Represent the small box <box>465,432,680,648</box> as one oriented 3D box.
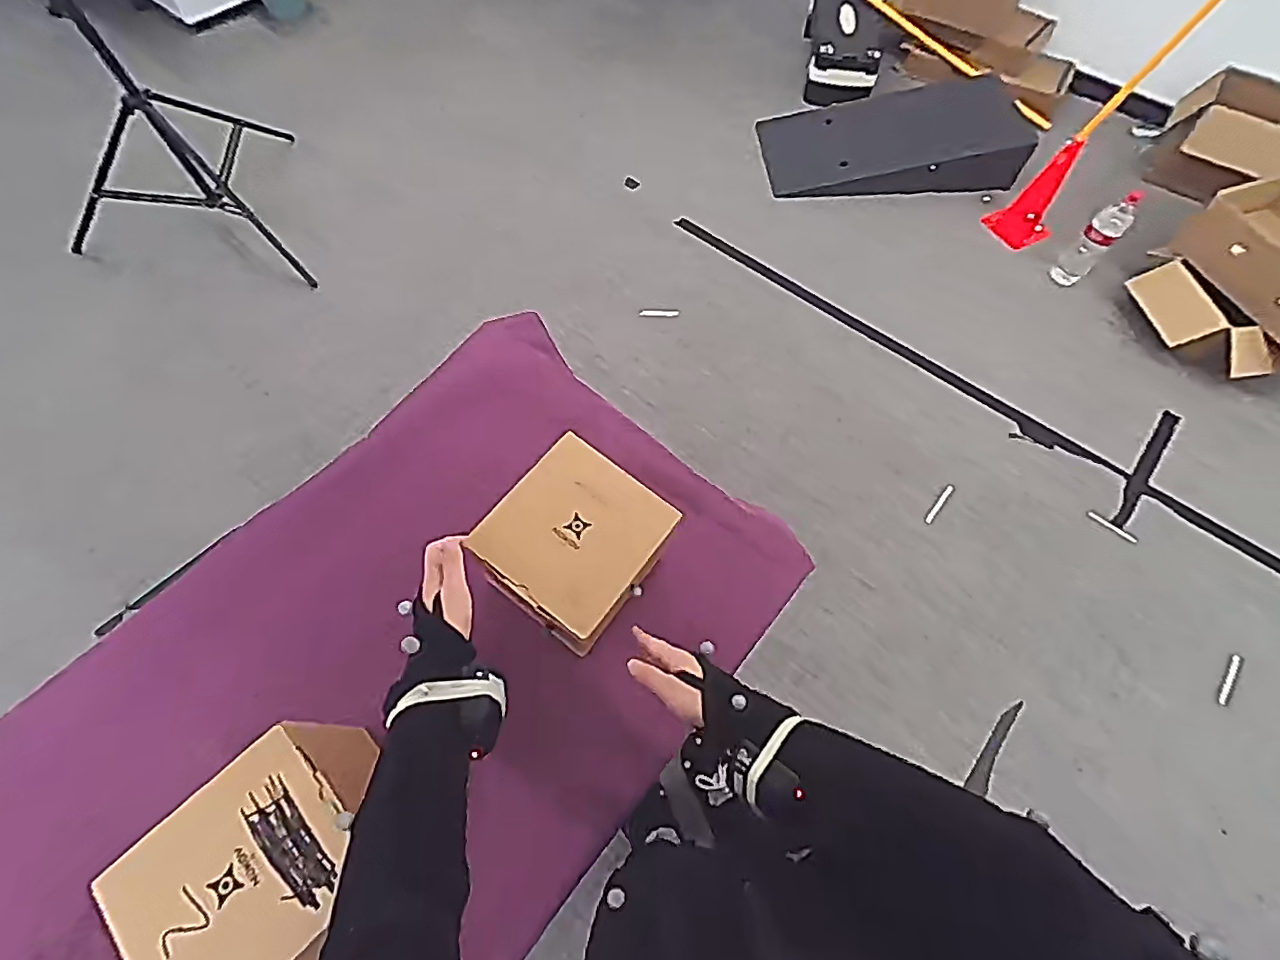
[{"bbox_3d":[-0.077,0.082,0.651,0.168,0.176,0.179,36,68,7],"label":"small box"}]
